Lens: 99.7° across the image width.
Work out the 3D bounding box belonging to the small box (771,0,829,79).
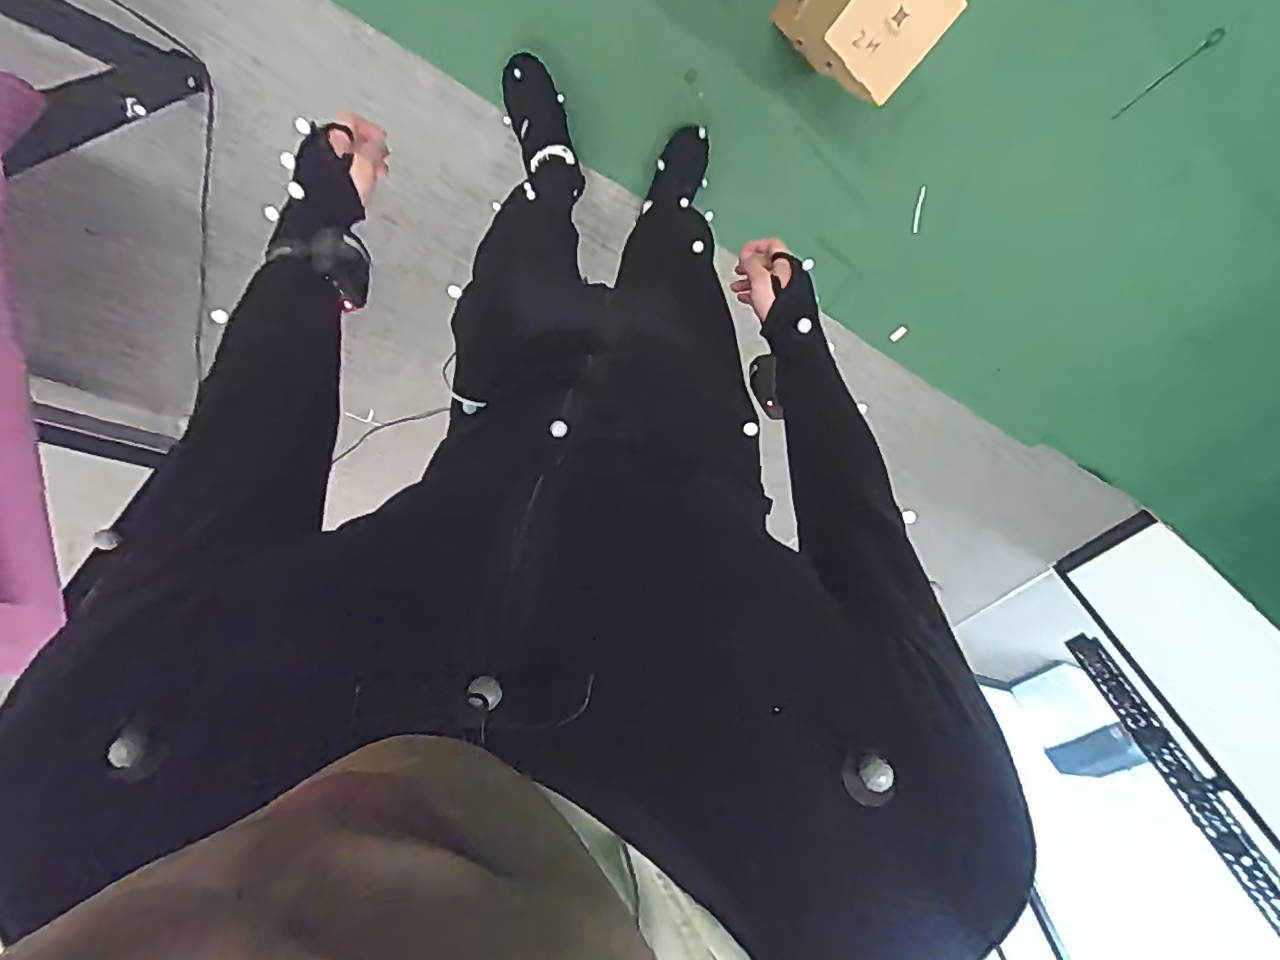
[{"bbox_3d":[0.382,-0.920,1.048,0.168,0.176,0.179,23,128,-29],"label":"small box"}]

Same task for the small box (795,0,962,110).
[{"bbox_3d":[0.401,-0.799,0.937,0.168,0.176,0.179,25,127,-30],"label":"small box"}]
